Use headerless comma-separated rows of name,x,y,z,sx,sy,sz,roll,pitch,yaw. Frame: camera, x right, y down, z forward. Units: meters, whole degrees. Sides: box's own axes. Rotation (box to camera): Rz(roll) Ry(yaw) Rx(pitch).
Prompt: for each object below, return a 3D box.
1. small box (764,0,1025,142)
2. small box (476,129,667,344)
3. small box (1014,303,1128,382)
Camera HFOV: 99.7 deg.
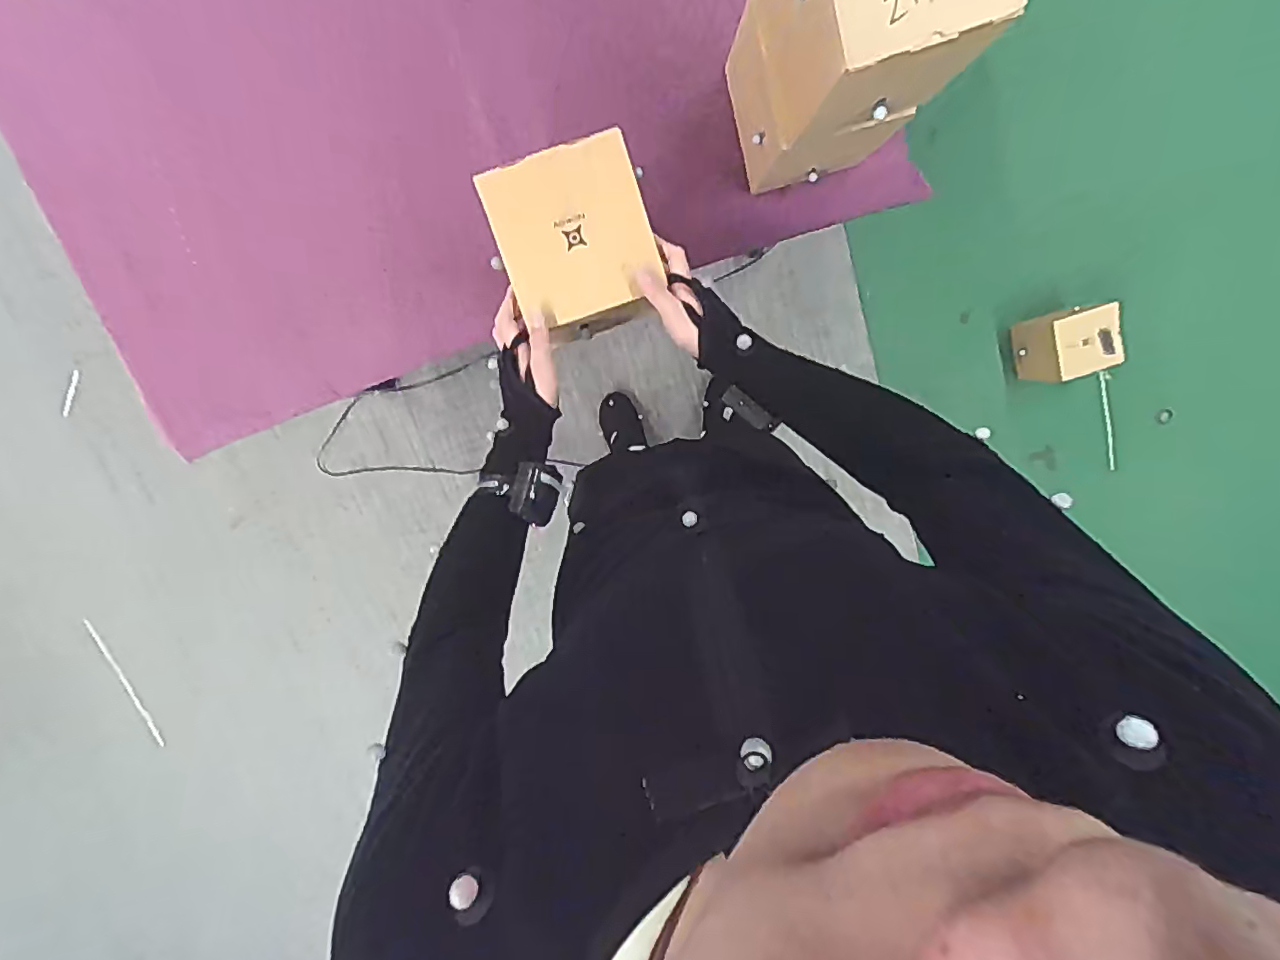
small box,0.234,-0.483,0.538,0.168,0.176,0.179,-17,101,3
small box,-0.072,-0.273,0.658,0.168,0.176,0.179,-19,98,1
small box,1.193,-0.379,1.504,0.179,0.176,0.168,-18,101,3
